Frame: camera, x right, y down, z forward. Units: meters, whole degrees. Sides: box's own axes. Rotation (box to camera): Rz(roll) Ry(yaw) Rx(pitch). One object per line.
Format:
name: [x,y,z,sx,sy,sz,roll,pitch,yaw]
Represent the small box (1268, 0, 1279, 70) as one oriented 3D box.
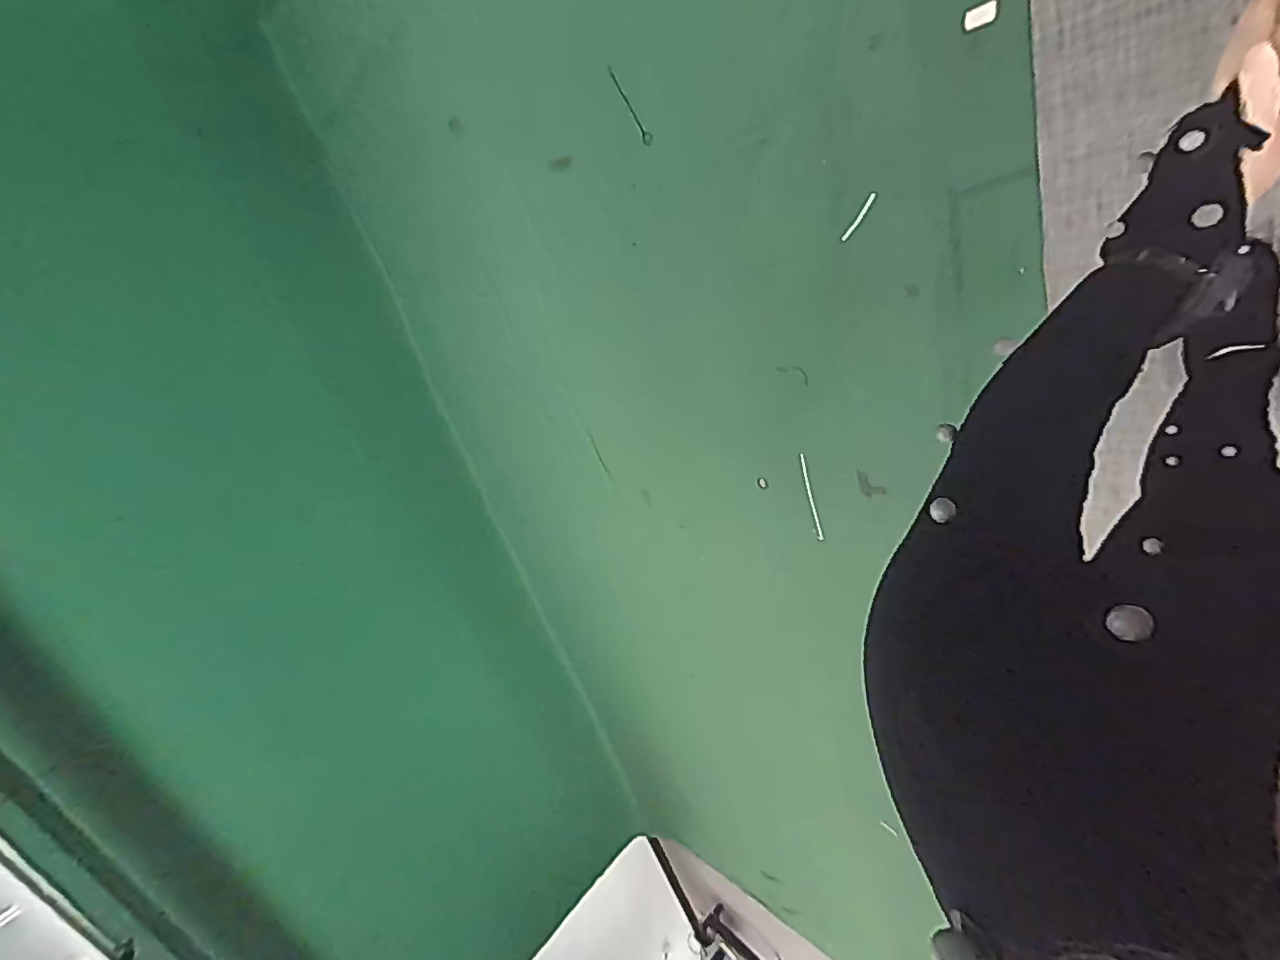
small box: [0.462,-0.353,0.270,0.179,0.176,0.168,9,102,45]
